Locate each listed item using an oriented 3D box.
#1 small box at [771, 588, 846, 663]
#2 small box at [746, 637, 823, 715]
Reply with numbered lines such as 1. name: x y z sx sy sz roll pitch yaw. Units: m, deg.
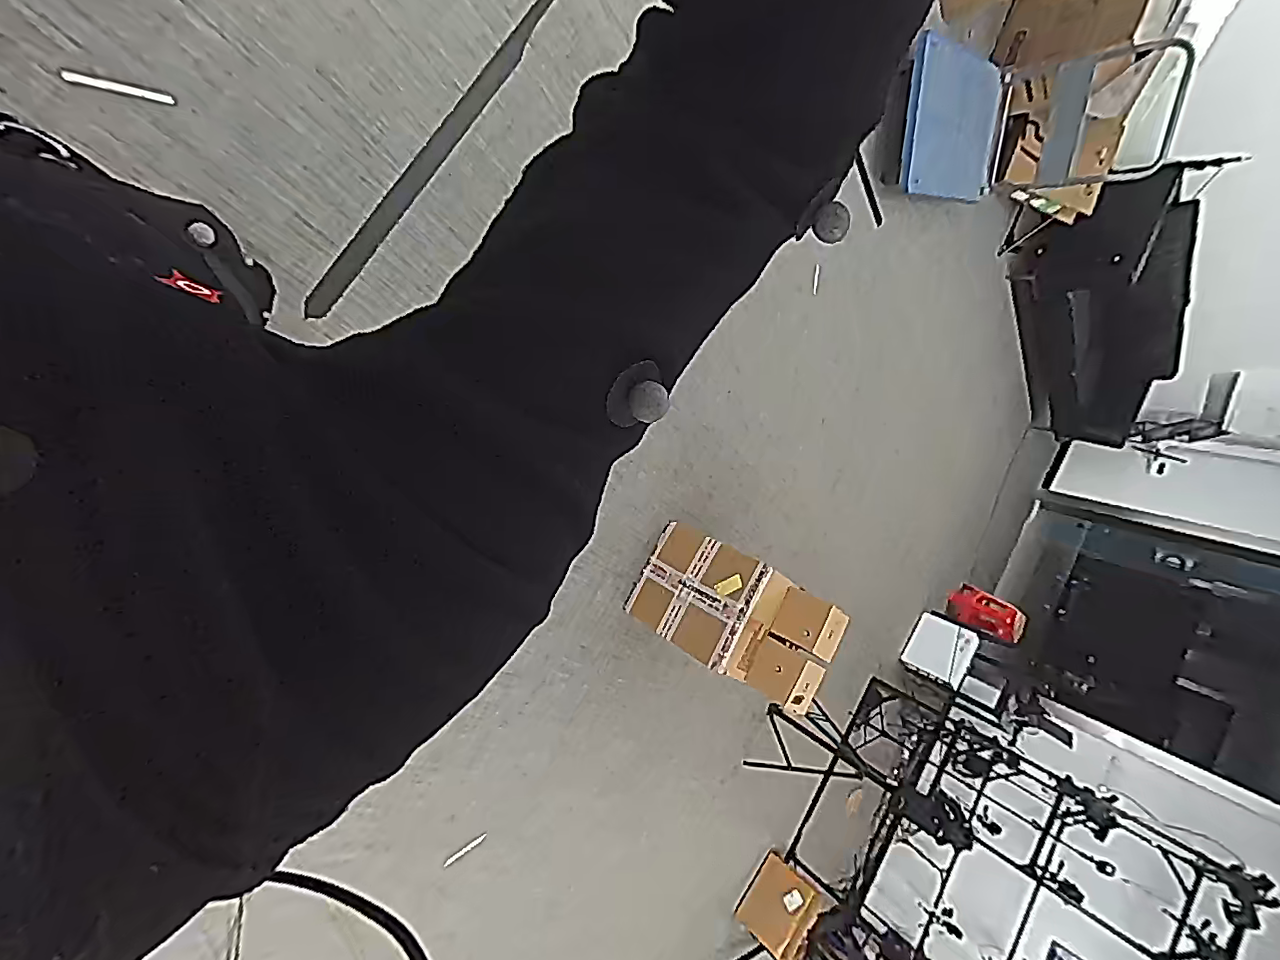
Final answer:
1. small box: 0.579 0.503 1.879 0.168 0.176 0.179 38 76 -43
2. small box: 0.489 0.669 1.856 0.168 0.176 0.179 37 80 -42
